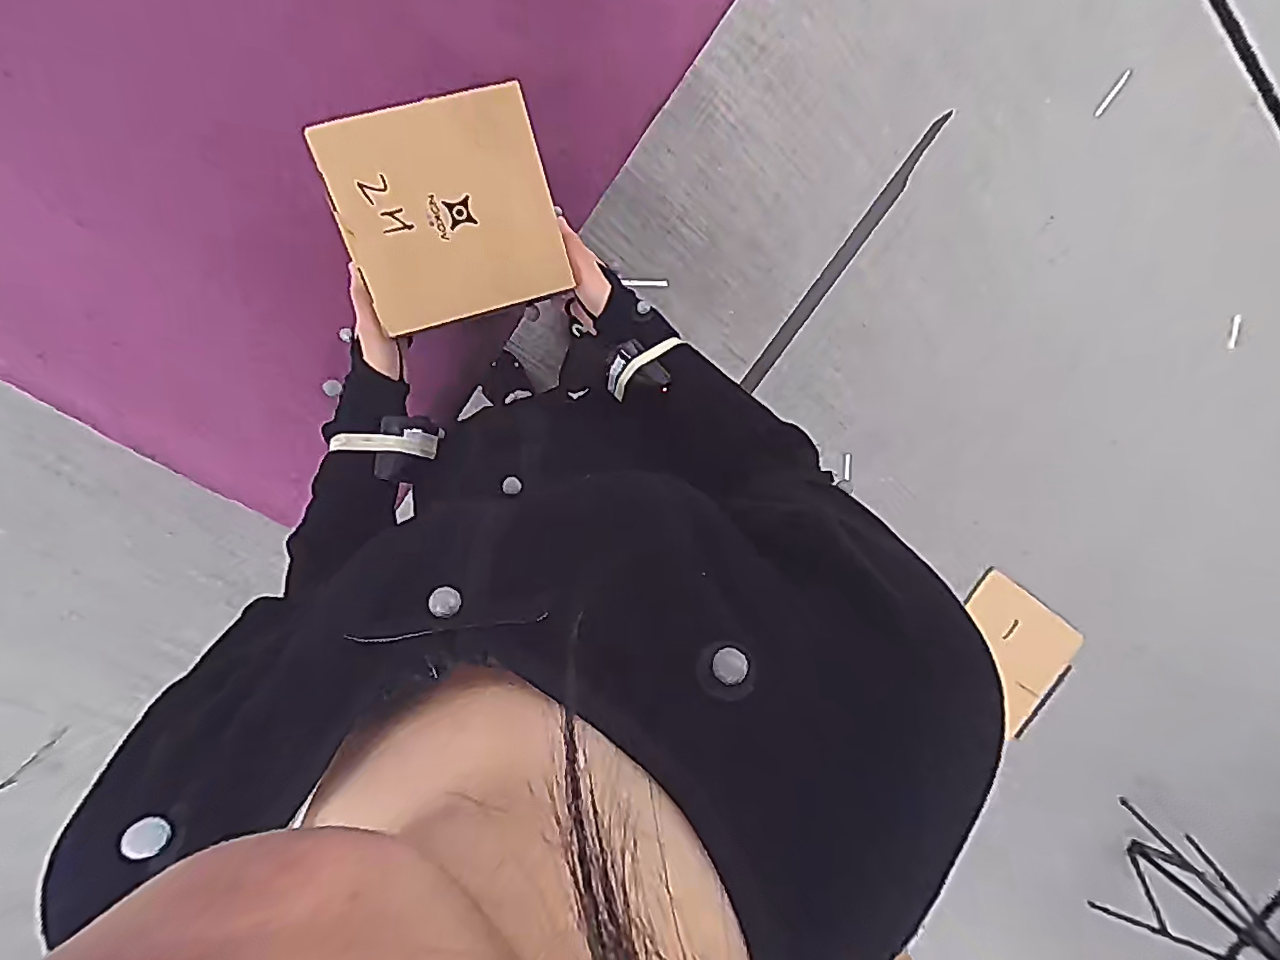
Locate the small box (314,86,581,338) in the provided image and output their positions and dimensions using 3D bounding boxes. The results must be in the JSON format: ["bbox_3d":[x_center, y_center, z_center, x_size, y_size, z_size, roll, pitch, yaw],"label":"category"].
[{"bbox_3d":[-0.170,-0.245,0.528,0.179,0.176,0.168,-17,109,-7],"label":"small box"}]
